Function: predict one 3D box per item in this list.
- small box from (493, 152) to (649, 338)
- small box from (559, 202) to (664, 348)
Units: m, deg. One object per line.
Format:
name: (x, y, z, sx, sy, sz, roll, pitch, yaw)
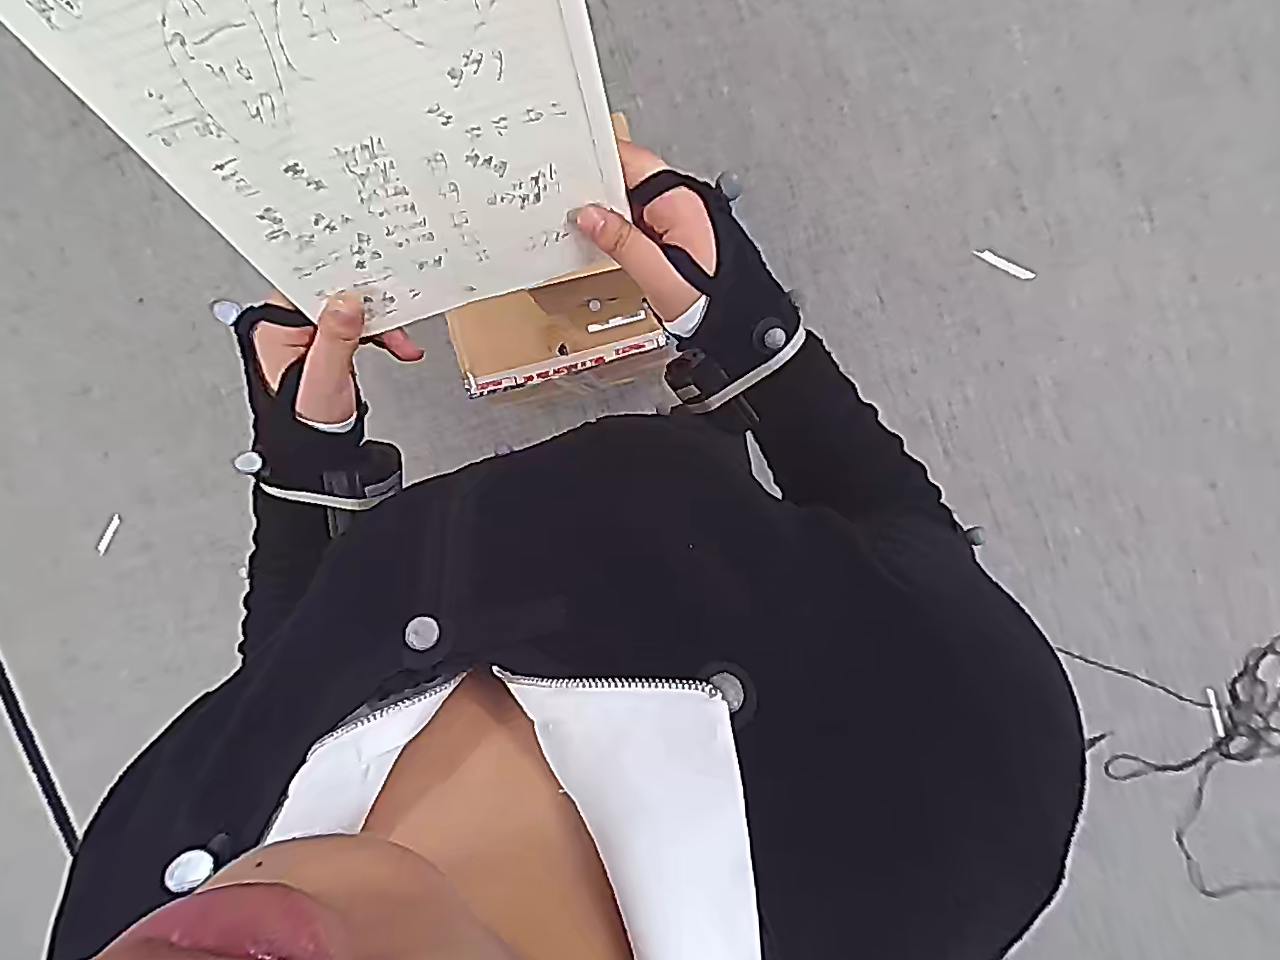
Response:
small box: (-0.086, -0.307, 0.744, 0.168, 0.176, 0.179, -12, 97, 1)
small box: (-0.066, -0.332, 0.906, 0.179, 0.176, 0.168, -16, 95, 3)
